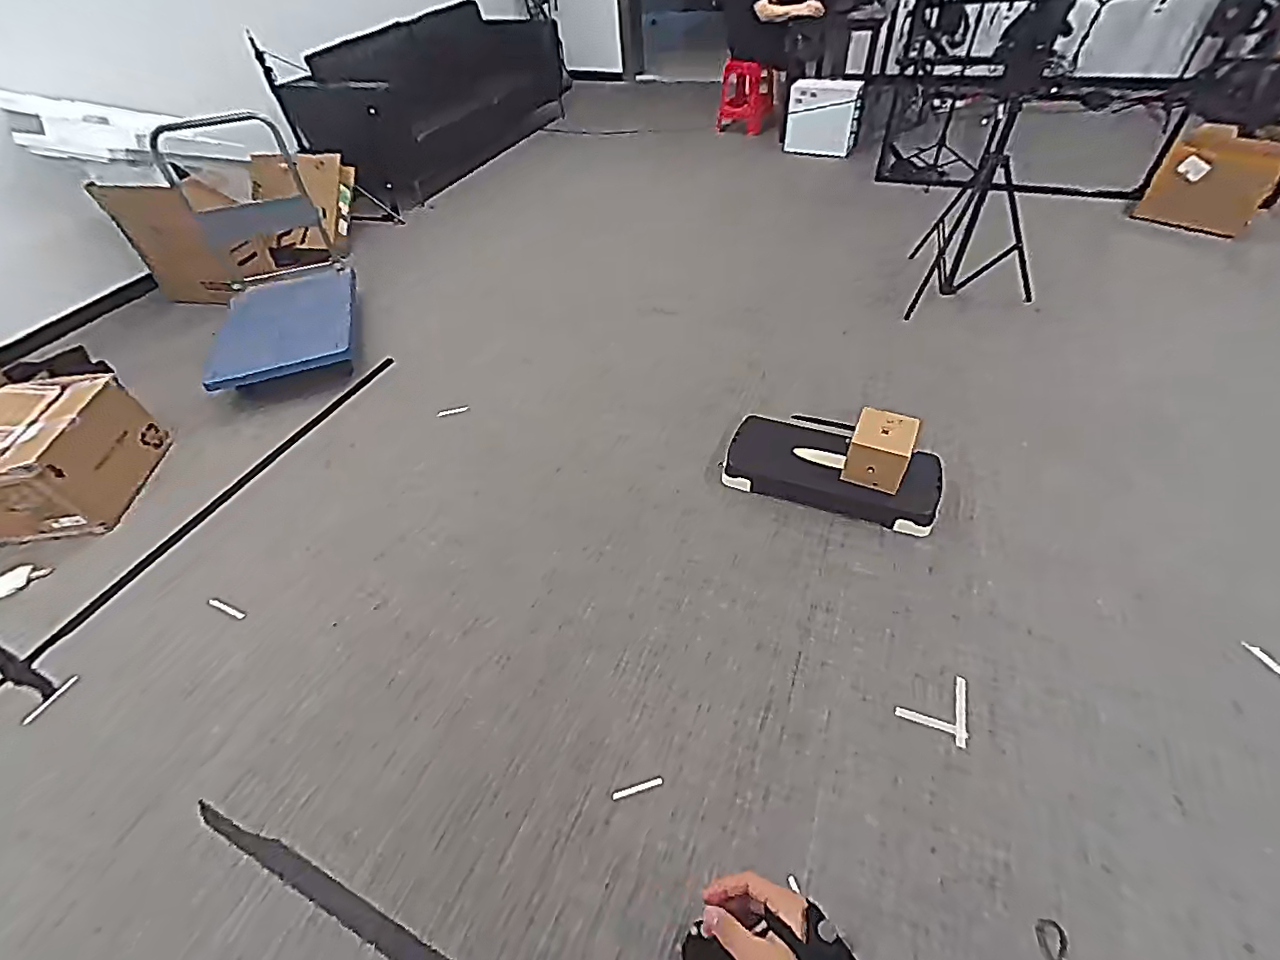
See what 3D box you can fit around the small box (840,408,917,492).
[{"bbox_3d":[0.727,-0.090,1.659,0.168,0.176,0.179,19,52,21],"label":"small box"}]
